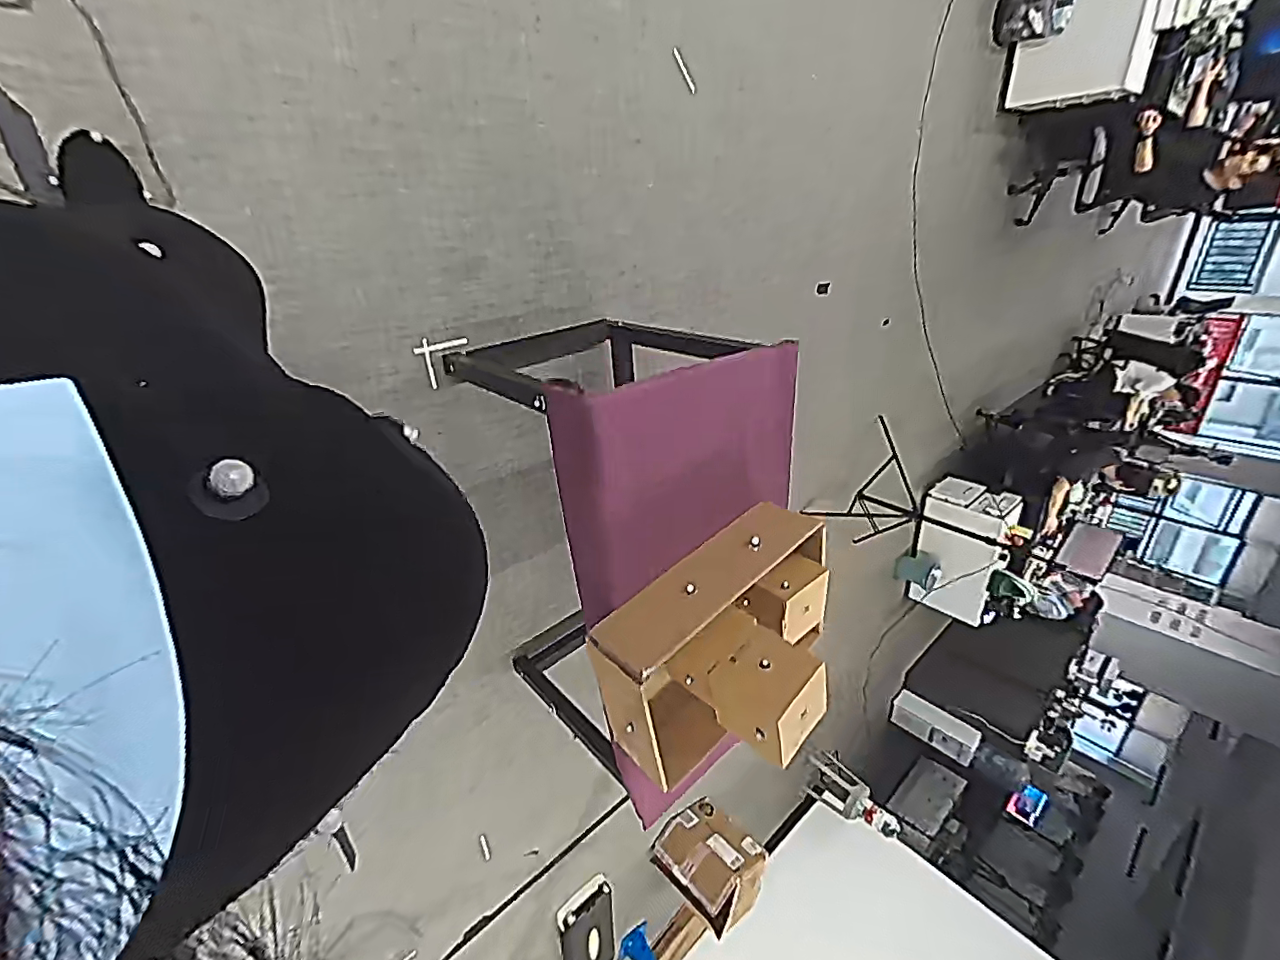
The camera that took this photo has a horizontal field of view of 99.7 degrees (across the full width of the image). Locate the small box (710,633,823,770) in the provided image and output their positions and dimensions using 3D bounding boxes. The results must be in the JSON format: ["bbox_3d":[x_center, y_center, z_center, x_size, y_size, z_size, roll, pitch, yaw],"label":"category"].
[{"bbox_3d":[0.259,0.443,1.117,0.168,0.176,0.179,-36,130,-30],"label":"small box"}]
